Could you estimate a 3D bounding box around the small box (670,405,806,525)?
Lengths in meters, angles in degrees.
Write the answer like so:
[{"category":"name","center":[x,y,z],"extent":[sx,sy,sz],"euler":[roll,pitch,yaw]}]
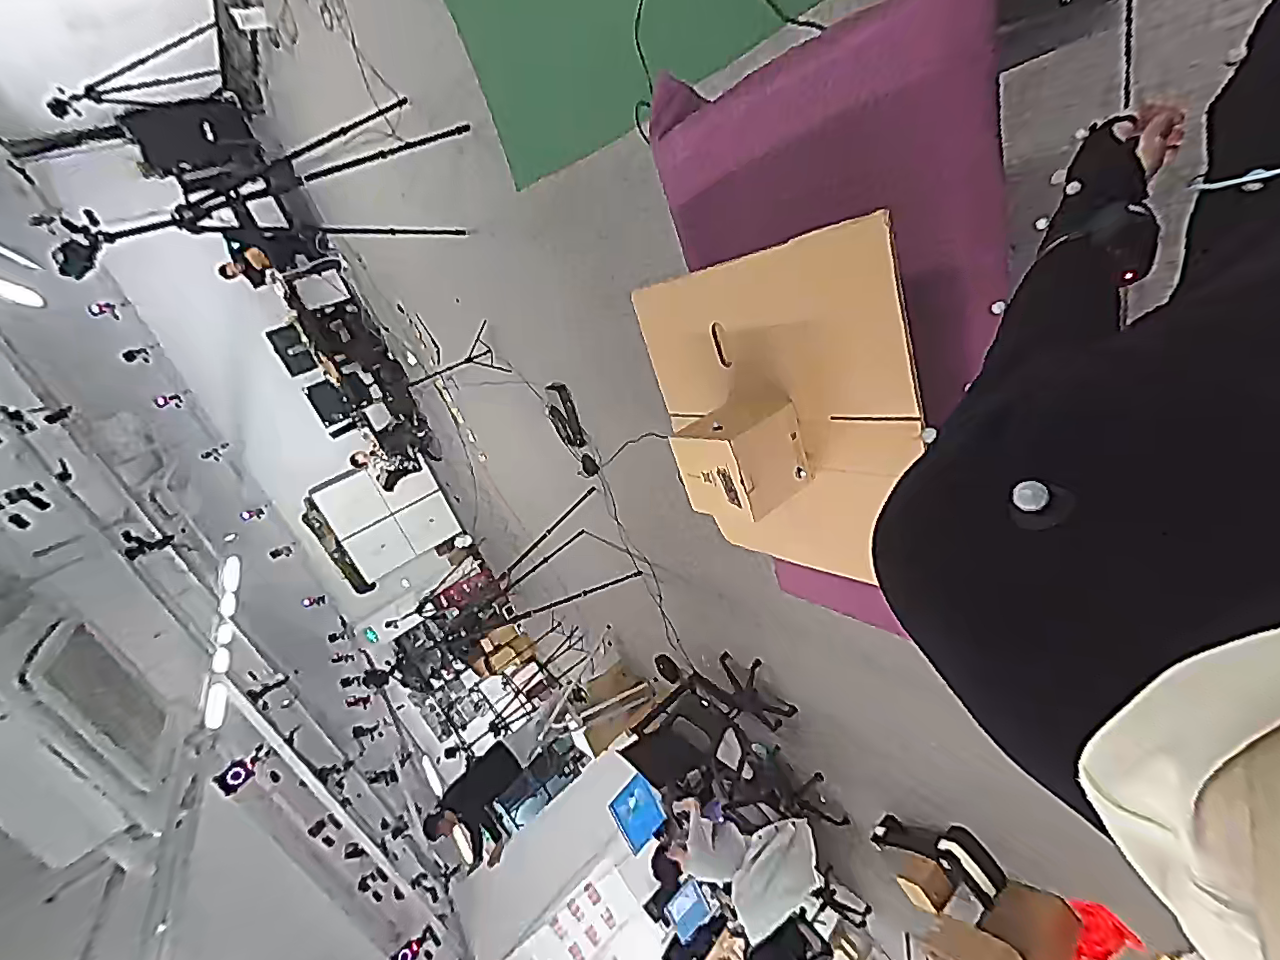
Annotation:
[{"category":"small box","center":[0.193,-0.037,1.027],"extent":[0.179,0.176,0.168],"euler":[10,126,56]}]
